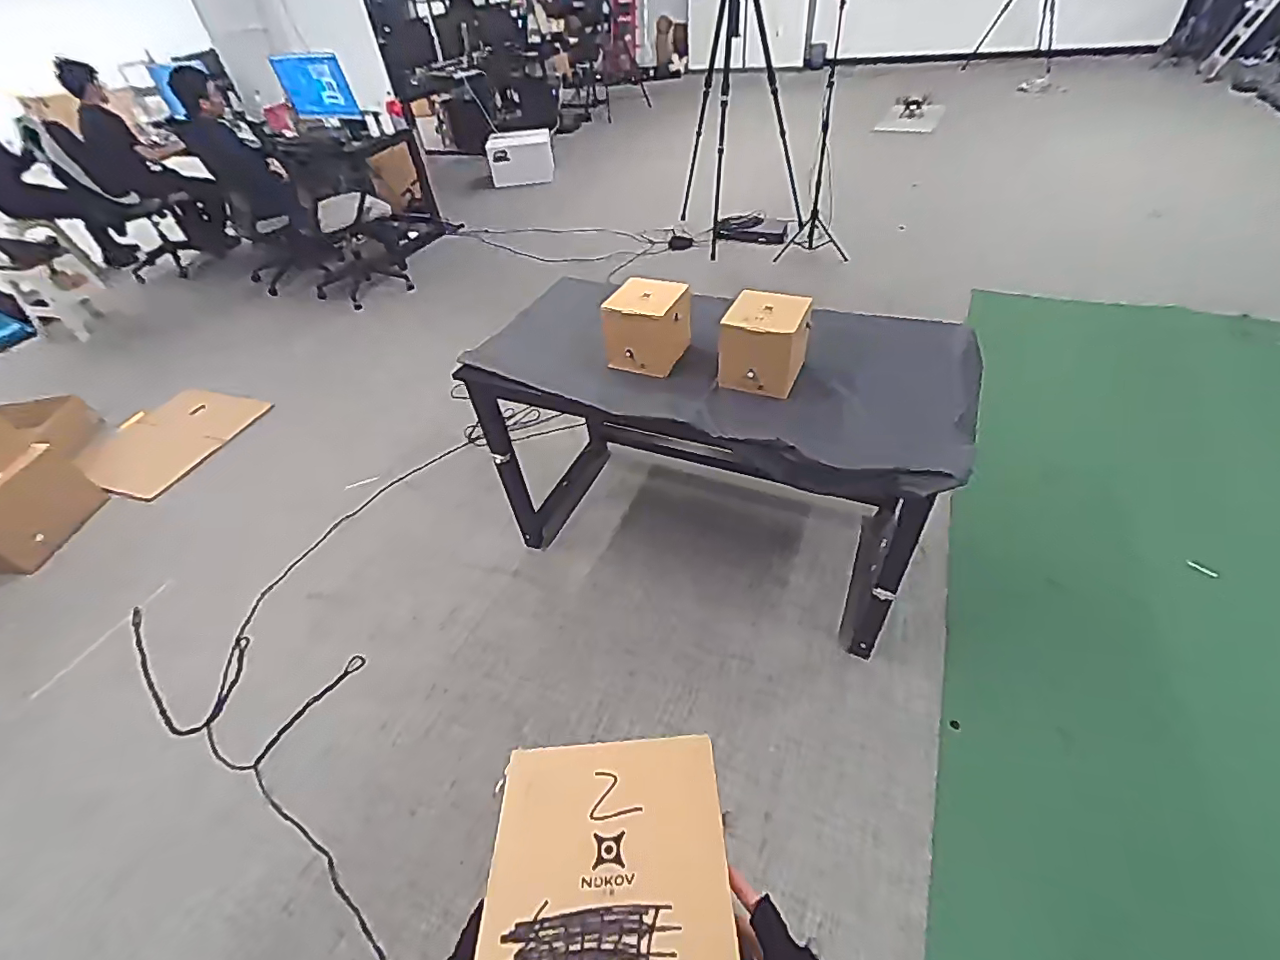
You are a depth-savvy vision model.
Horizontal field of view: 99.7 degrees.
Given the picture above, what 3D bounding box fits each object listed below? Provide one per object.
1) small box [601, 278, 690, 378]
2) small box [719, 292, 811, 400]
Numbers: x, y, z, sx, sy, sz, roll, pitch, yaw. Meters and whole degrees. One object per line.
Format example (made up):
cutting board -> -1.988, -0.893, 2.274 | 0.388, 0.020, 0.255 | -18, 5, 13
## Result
small box -> 0.018, -0.386, 1.368 | 0.168, 0.176, 0.179 | 16, 48, 20
small box -> 0.288, -0.315, 1.265 | 0.168, 0.176, 0.179 | 16, 48, 21
